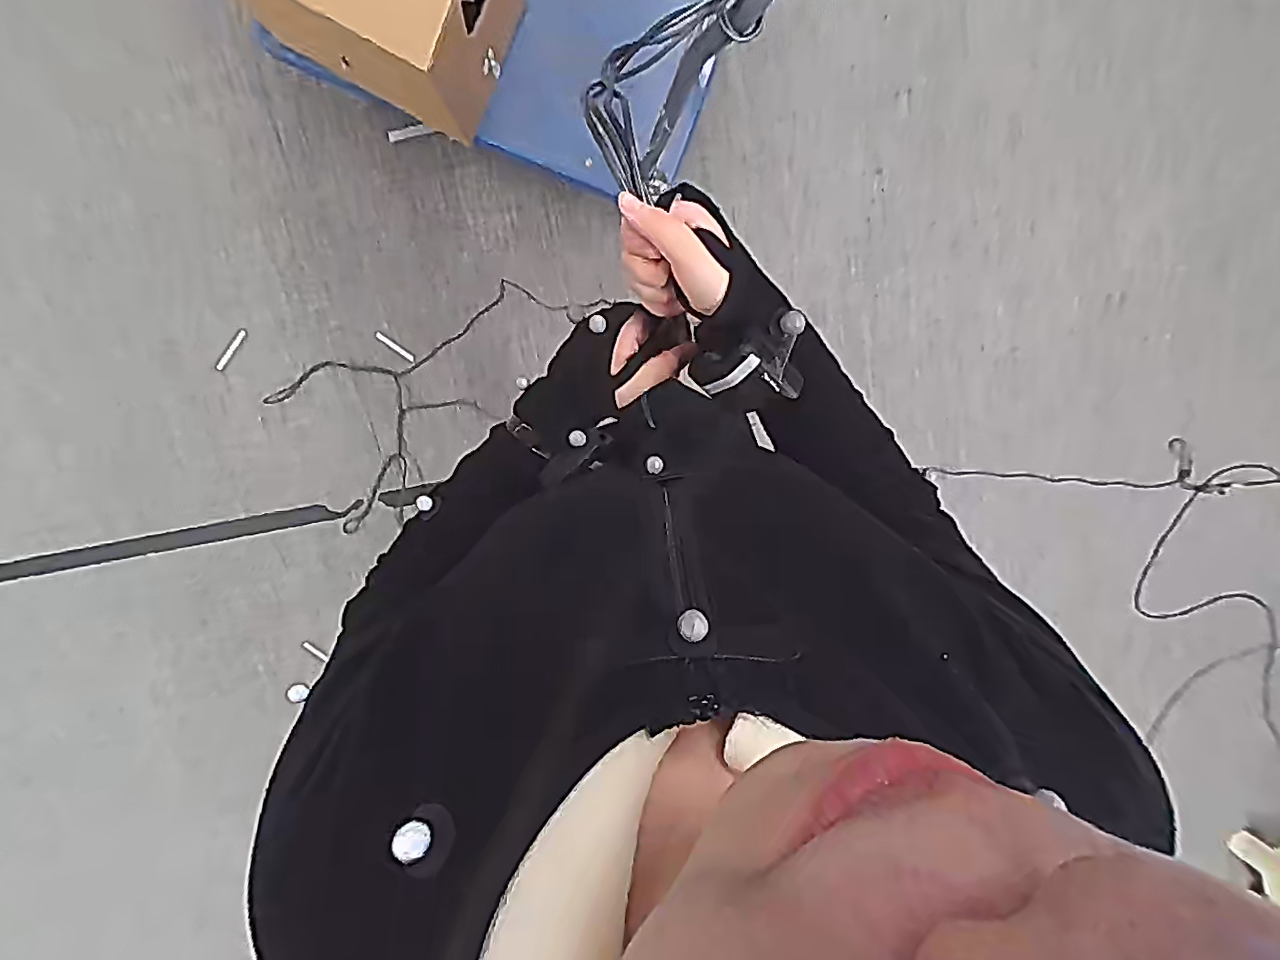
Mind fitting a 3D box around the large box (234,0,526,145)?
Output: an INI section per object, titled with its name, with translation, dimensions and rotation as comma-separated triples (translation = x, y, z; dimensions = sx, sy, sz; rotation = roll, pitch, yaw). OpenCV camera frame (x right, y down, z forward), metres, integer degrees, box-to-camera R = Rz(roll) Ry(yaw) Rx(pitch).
[large box]
translation = -0.452, -0.871, 0.927
dimensions = 0.408, 0.320, 0.320
rotation = 25, 98, -9
